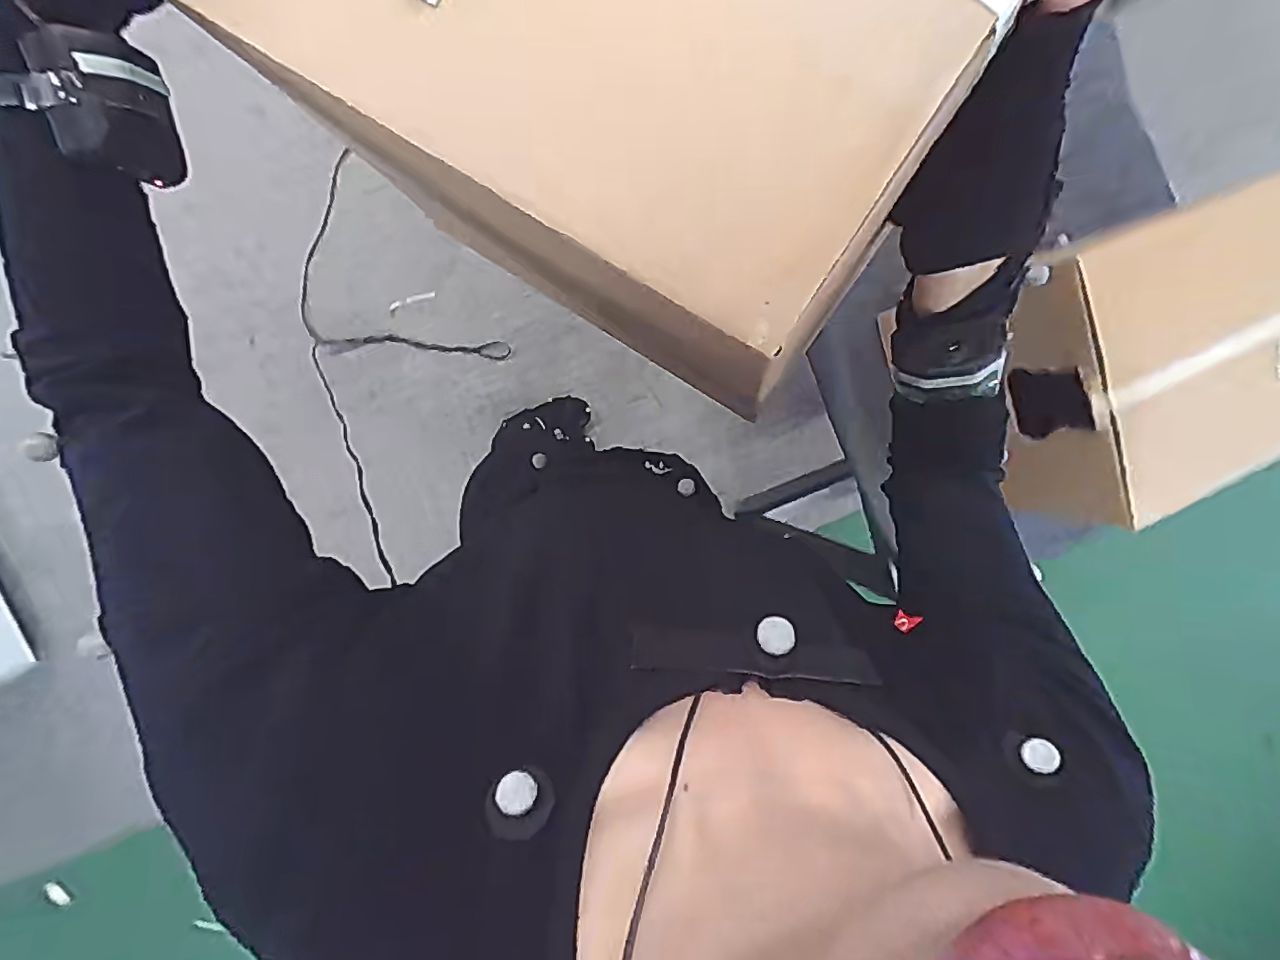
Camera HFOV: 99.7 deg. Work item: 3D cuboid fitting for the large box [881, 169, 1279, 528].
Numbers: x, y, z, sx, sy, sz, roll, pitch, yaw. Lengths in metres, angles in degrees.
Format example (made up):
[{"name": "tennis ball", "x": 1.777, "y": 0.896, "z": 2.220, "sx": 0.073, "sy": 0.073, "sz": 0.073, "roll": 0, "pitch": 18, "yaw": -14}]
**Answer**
[{"name": "large box", "x": 0.630, "y": -0.166, "z": 0.746, "sx": 0.408, "sy": 0.320, "sz": 0.320, "roll": -22, "pitch": 99, "yaw": -12}]
